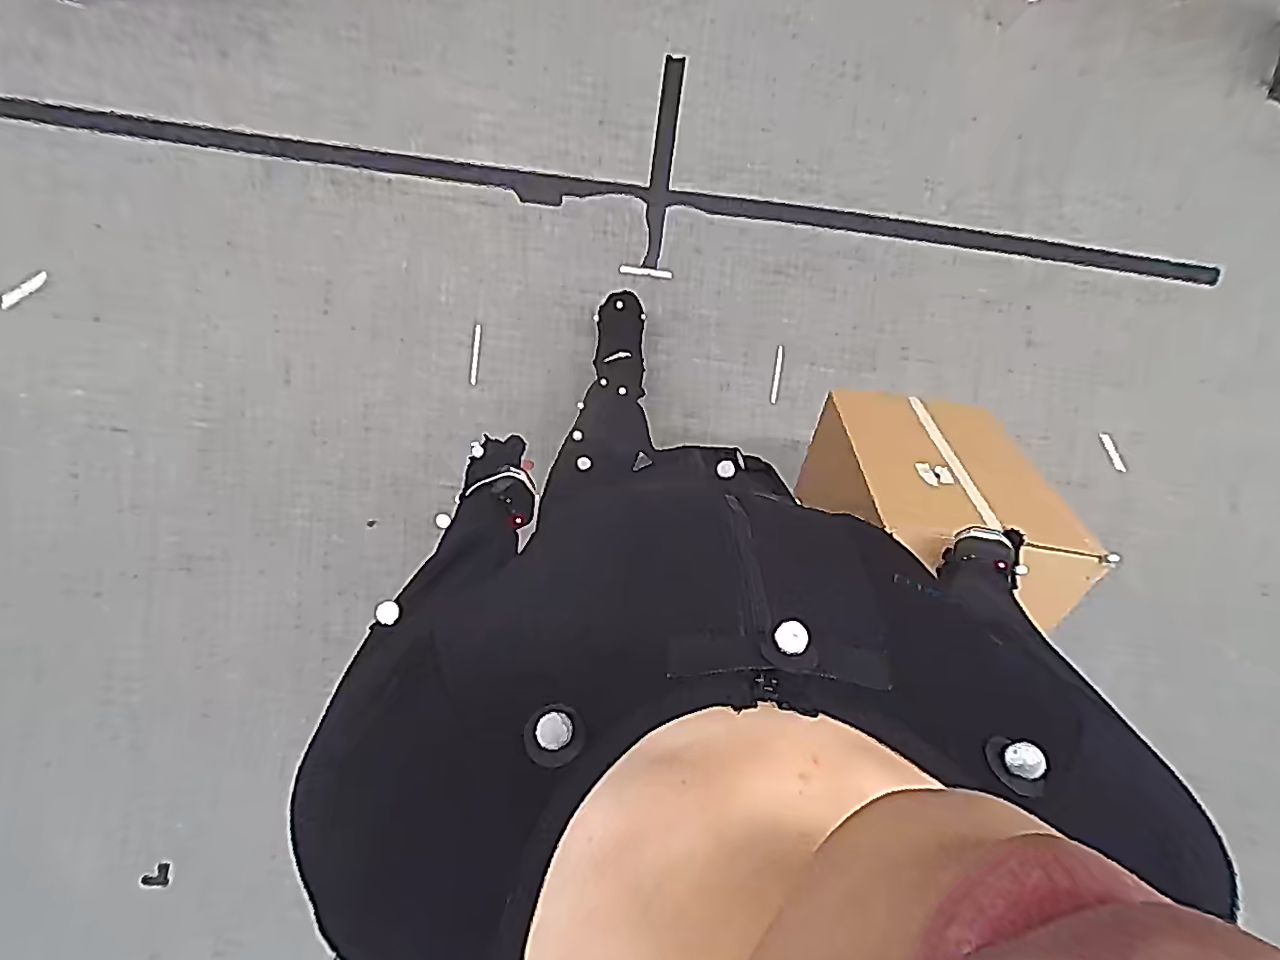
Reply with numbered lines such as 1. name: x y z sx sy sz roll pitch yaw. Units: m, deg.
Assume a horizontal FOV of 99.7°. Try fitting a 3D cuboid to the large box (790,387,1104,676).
1. large box: 0.489 0.080 0.988 0.320 0.408 0.320 7 130 1
